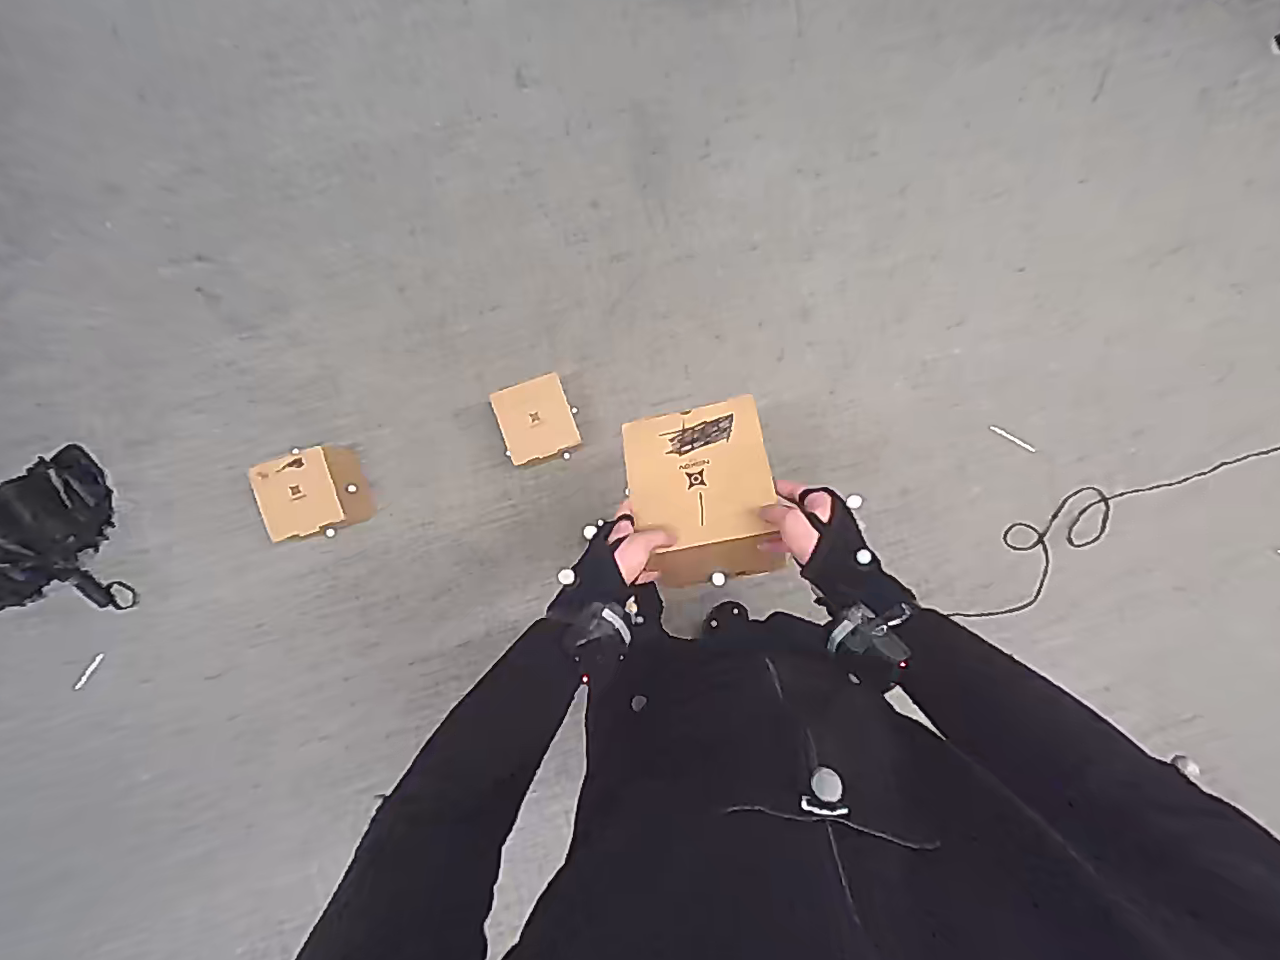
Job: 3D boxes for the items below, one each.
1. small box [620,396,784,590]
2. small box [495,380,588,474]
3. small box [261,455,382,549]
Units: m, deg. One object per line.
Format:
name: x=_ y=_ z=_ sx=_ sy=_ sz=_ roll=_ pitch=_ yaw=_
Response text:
small box: x=0.082 y=0.025 z=0.685 sx=0.168 sy=0.176 sz=0.179 roll=-13 pitch=63 yaw=12
small box: x=-0.232 y=-0.120 z=1.322 sx=0.168 sy=0.176 sz=0.179 roll=-21 pitch=87 yaw=-5
small box: x=-0.745 y=0.050 z=1.287 sx=0.168 sy=0.176 sz=0.179 roll=-19 pitch=89 yaw=-4
